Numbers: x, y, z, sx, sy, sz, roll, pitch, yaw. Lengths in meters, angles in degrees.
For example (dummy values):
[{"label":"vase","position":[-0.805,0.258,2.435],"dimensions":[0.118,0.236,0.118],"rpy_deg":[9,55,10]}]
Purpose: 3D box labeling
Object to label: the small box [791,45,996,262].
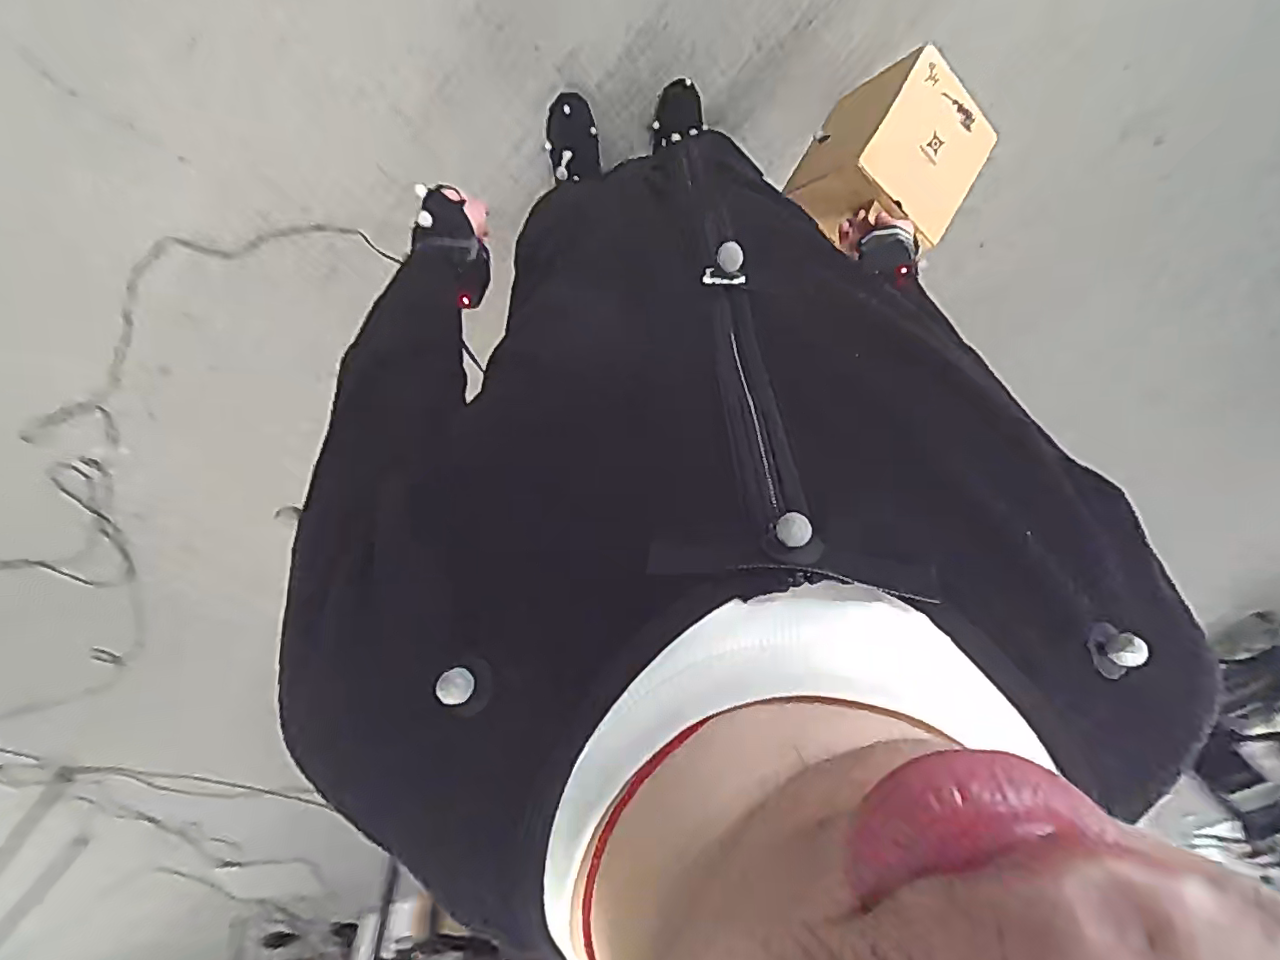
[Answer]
[{"label":"small box","position":[0.344,-0.439,0.767],"dimensions":[0.168,0.176,0.179],"rpy_deg":[27,90,-22]}]
